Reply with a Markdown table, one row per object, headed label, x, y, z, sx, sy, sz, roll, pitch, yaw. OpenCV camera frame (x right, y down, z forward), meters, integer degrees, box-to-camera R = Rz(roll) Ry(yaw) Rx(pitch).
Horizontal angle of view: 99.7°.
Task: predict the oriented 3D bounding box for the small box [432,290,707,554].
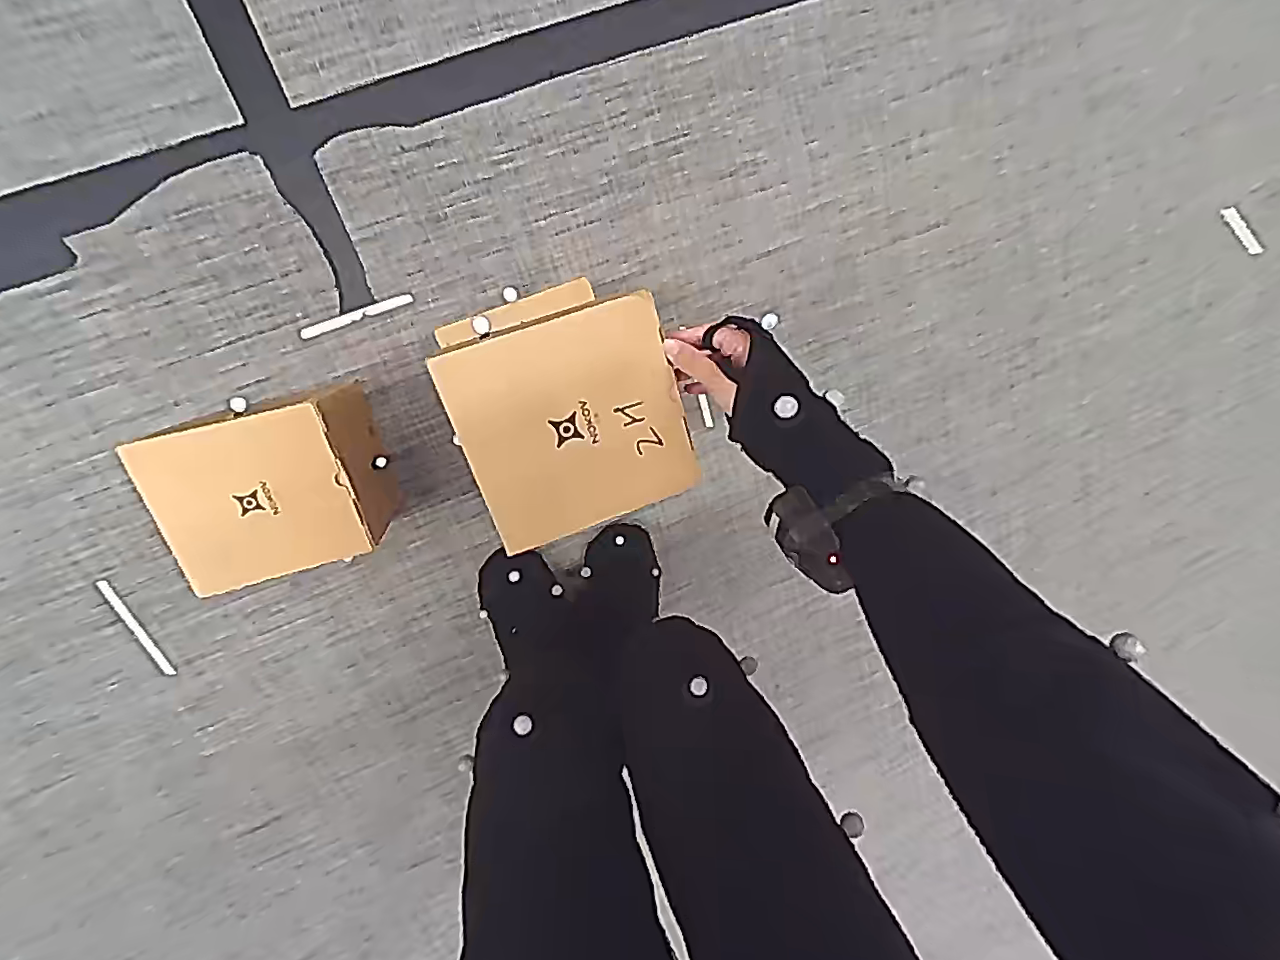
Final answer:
| label | x | y | z | sx | sy | sz | roll | pitch | yaw |
| --- | --- | --- | --- | --- | --- | --- | --- | --- | --- |
| small box | -0.064 | -0.062 | 0.490 | 0.179 | 0.176 | 0.168 | -21 | 111 | -9 |

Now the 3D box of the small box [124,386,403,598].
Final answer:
| label | x | y | z | sx | sy | sz | roll | pitch | yaw |
| --- | --- | --- | --- | --- | --- | --- | --- | --- | --- |
| small box | -0.390 | 0.001 | 0.602 | 0.179 | 0.176 | 0.168 | -16 | 110 | -9 |

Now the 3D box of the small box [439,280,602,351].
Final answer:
| label | x | y | z | sx | sy | sz | roll | pitch | yaw |
| --- | --- | --- | --- | --- | --- | --- | --- | --- | --- |
| small box | -0.114 | -0.121 | 0.637 | 0.168 | 0.176 | 0.179 | -22 | 110 | -8 |
